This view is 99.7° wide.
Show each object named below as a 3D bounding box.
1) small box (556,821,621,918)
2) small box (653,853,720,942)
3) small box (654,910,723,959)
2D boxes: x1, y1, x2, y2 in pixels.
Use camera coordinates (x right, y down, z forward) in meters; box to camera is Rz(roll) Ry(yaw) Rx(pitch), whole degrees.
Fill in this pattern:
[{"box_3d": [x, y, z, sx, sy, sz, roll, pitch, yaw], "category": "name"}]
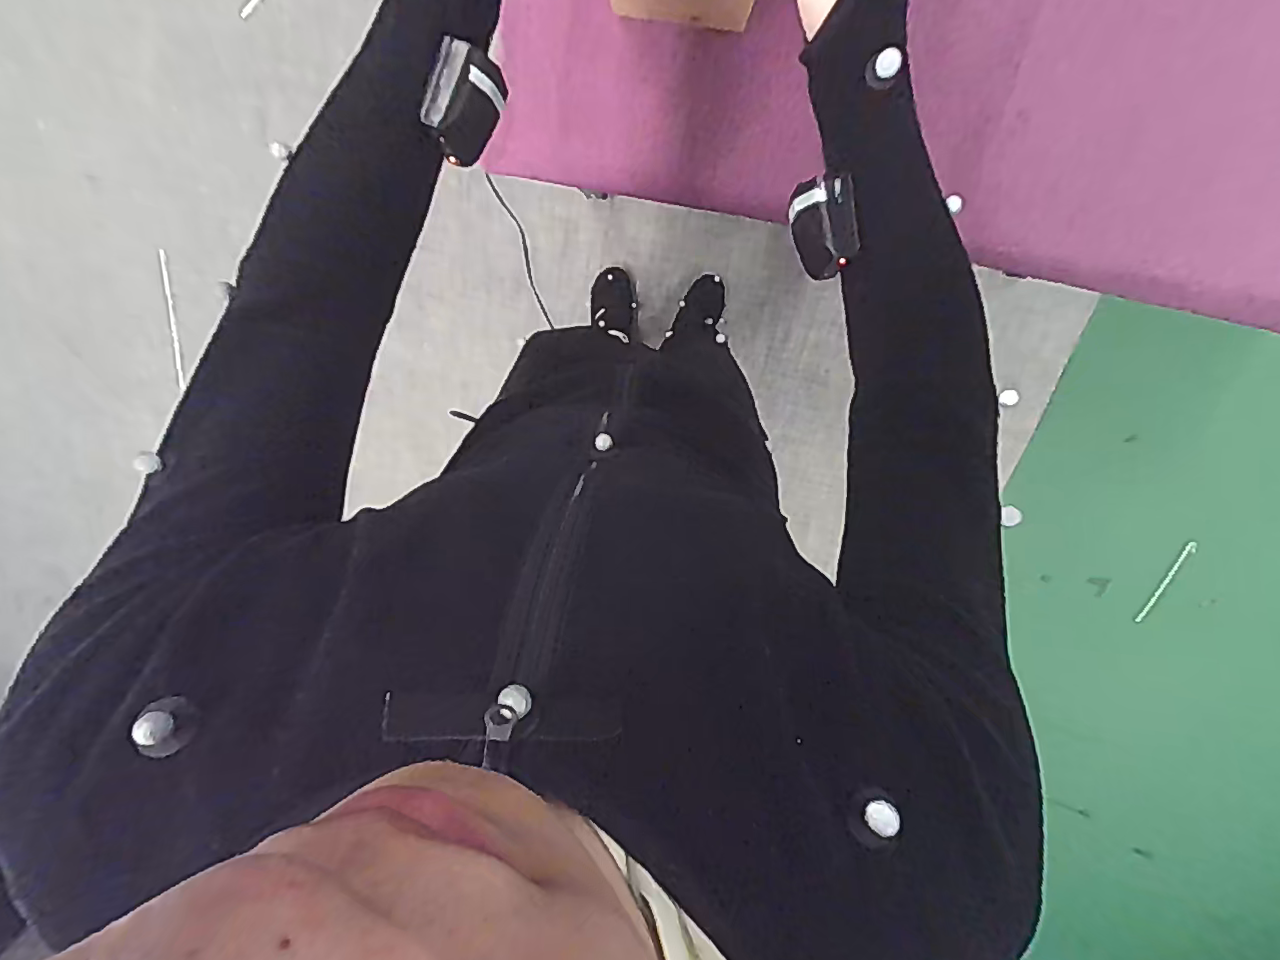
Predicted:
[{"box_3d": [-0.151, 1.168, 1.628, 0.168, 0.176, 0.179, 11, 113, -3], "category": "small box"}, {"box_3d": [0.139, 1.311, 1.685, 0.168, 0.176, 0.179, 12, 112, -5], "category": "small box"}, {"box_3d": [0.137, 1.373, 1.534, 0.168, 0.176, 0.179, 15, 112, -6], "category": "small box"}]
